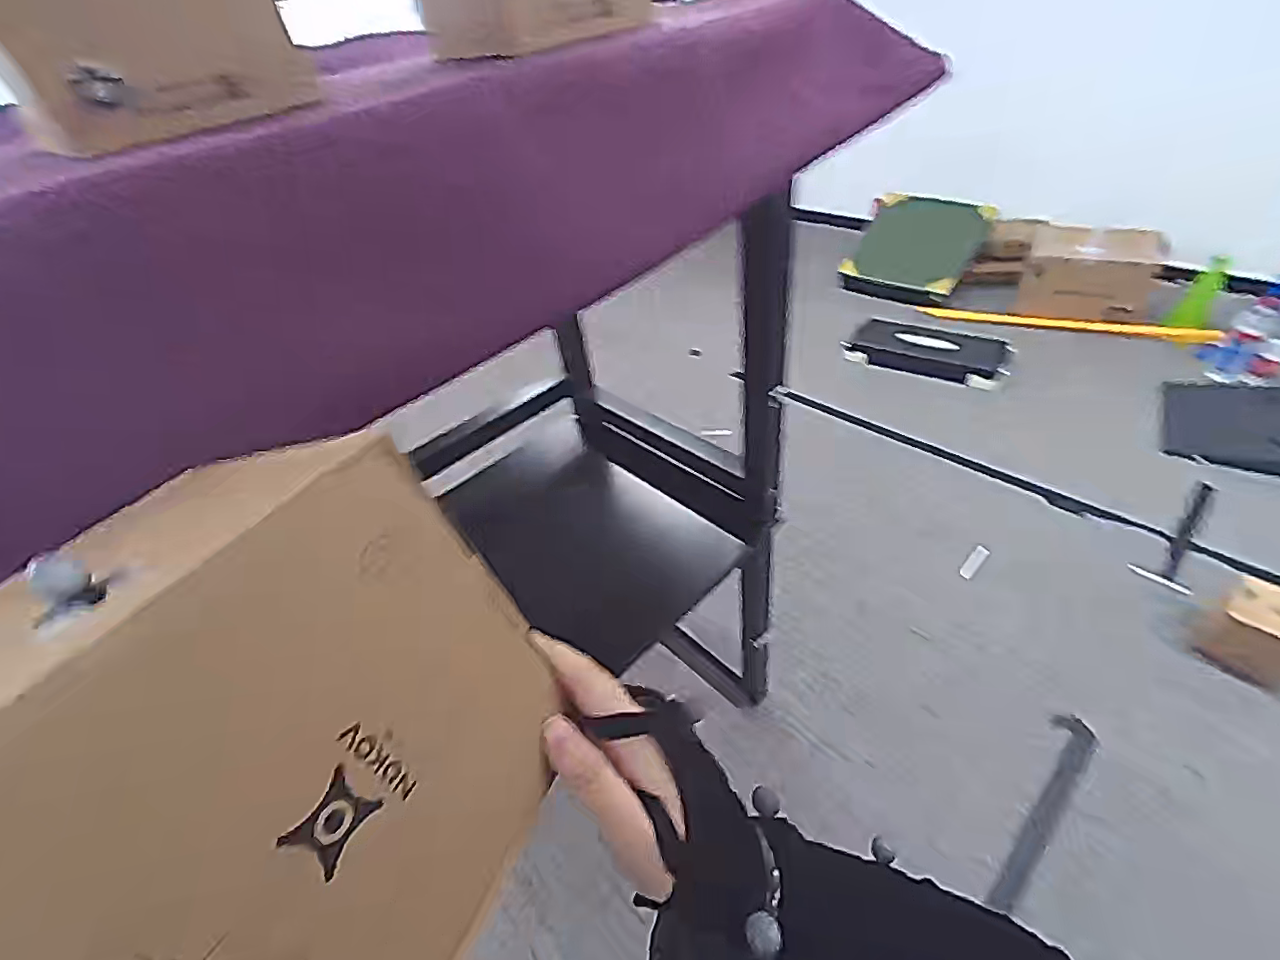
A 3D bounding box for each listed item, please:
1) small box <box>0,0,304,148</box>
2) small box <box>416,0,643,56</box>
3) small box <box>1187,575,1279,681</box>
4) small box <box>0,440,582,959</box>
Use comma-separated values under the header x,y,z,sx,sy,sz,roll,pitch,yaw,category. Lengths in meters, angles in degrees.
x,y,z,sx,sy,sz,roll,pitch,yaw,category
-0.368,-0.334,0.359,0.179,0.176,0.168,26,53,34,small box
-0.118,-0.506,0.493,0.168,0.176,0.179,-34,47,-23,small box
1.574,0.384,1.381,0.168,0.176,0.179,-36,50,-26,small box
-0.156,0.105,0.203,0.176,0.168,0.179,-7,31,32,small box
